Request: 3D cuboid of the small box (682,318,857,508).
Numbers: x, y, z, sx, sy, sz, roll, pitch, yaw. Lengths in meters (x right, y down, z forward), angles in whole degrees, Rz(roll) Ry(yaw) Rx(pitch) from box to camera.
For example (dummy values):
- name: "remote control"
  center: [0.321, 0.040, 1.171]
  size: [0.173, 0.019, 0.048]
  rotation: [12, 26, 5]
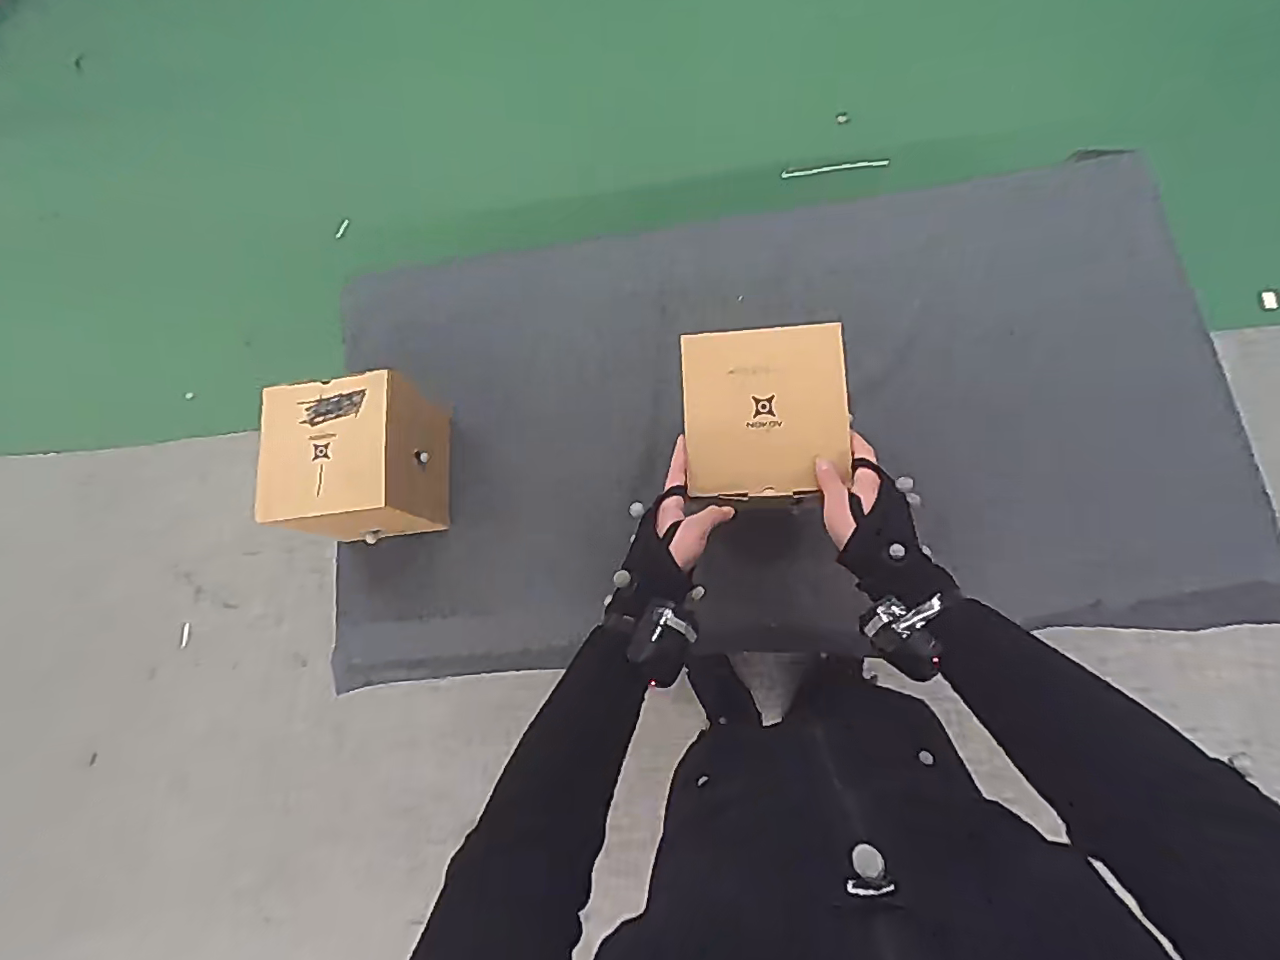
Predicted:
- name: "small box"
  center: [0.137, -0.061, 0.617]
  size: [0.168, 0.176, 0.179]
  rotation: [-3, 80, 6]

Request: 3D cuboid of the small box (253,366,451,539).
- name: "small box"
  center: [-0.364, -0.027, 0.716]
  size: [0.168, 0.176, 0.179]
  rotation: [-7, 75, 5]
